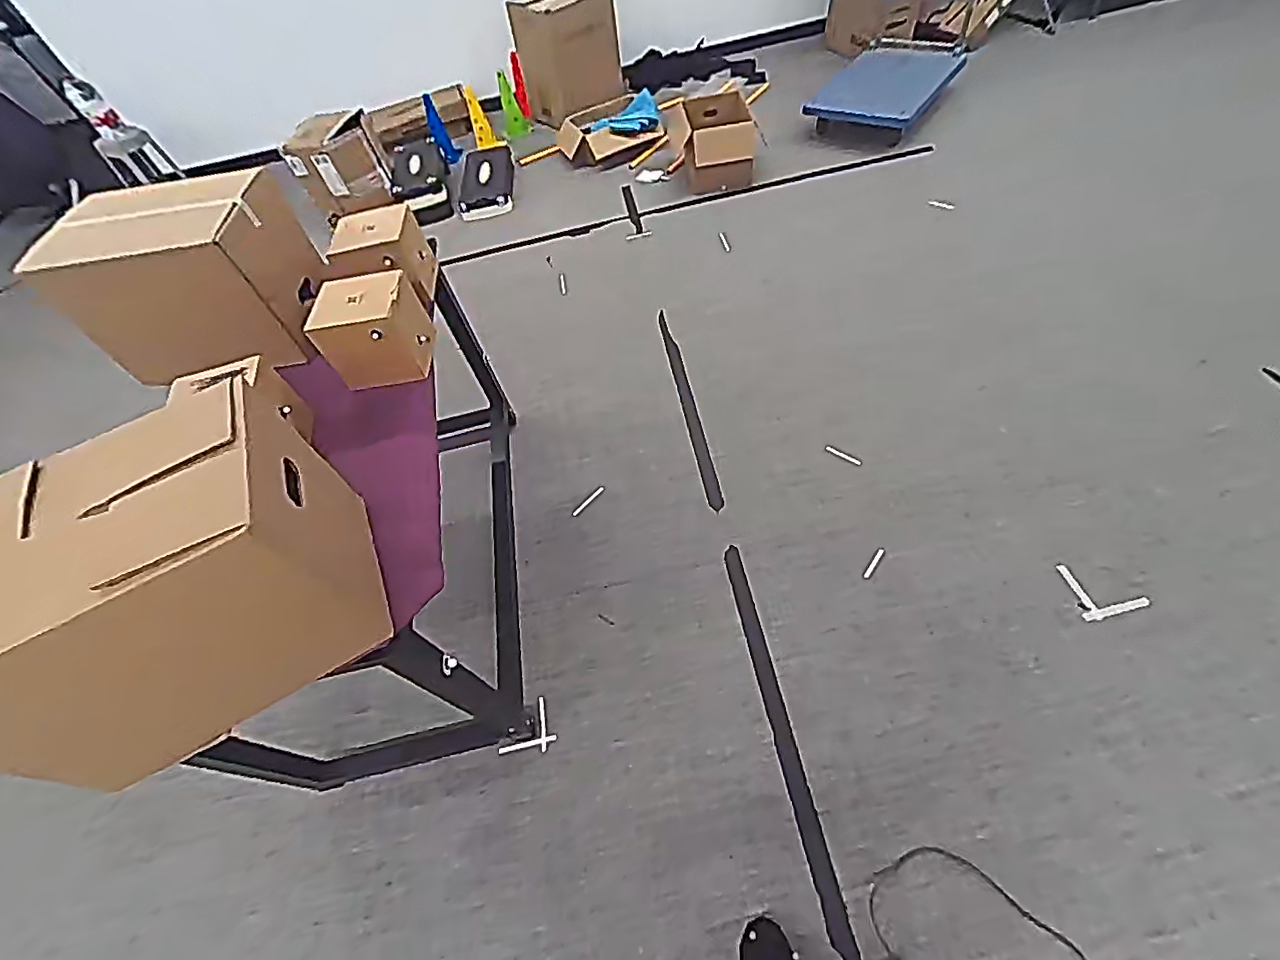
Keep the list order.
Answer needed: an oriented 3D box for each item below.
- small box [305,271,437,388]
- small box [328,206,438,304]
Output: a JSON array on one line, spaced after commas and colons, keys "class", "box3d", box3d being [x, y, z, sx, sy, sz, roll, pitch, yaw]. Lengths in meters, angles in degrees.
[{"class": "small box", "box3d": [-0.566, -0.316, 1.162, 0.179, 0.176, 0.168, -9, 53, 3]}, {"class": "small box", "box3d": [-0.617, -0.533, 1.325, 0.179, 0.176, 0.168, -12, 53, 4]}]
